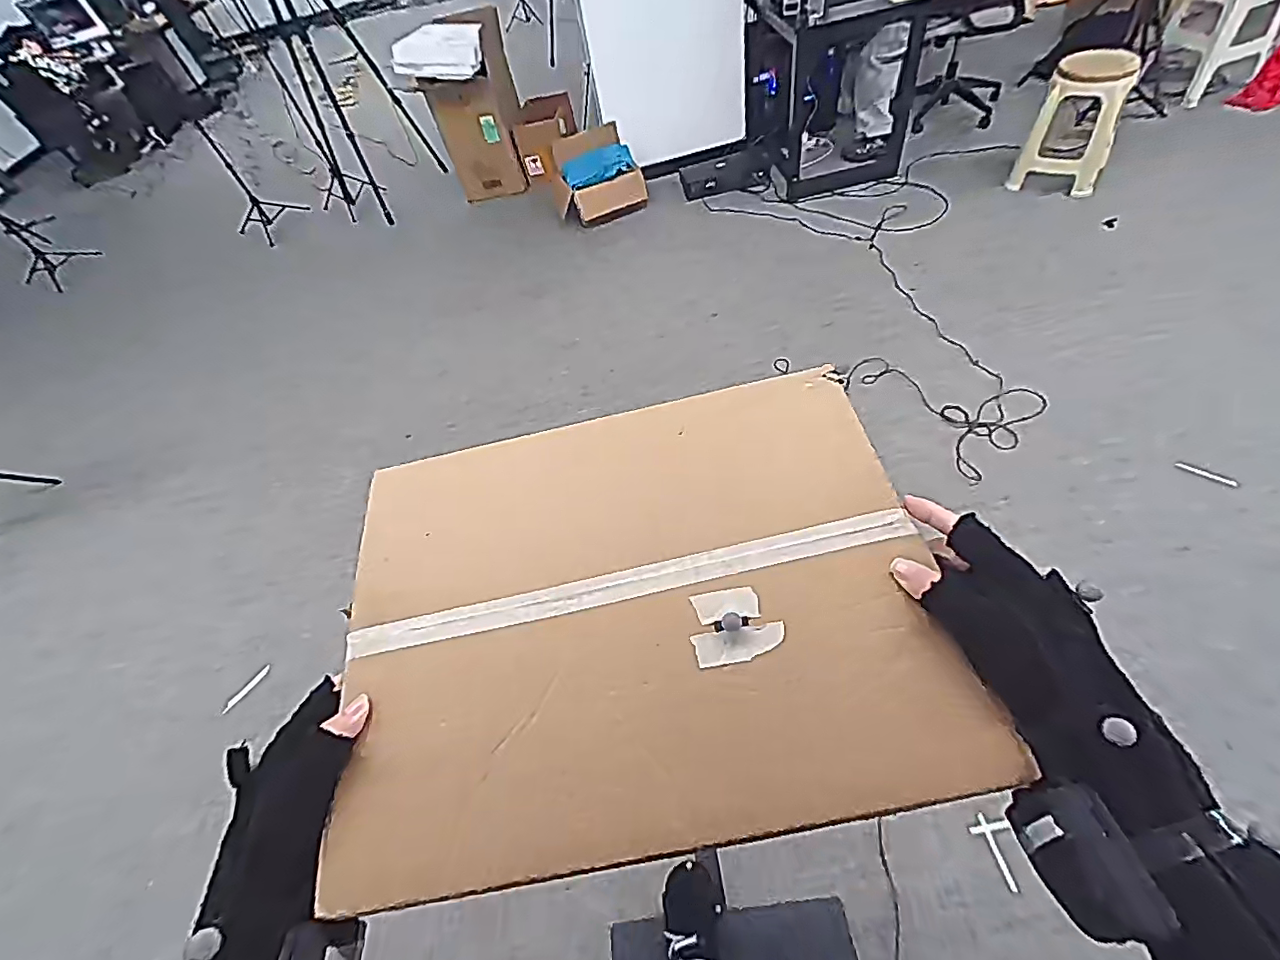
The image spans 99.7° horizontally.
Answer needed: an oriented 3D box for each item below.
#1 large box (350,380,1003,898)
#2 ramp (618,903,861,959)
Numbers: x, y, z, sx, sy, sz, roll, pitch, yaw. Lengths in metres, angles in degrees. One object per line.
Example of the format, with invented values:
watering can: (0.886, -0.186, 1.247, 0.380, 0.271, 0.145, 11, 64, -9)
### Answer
large box: (0.015, 0.160, 0.521, 0.408, 0.320, 0.320, -13, 56, 2)
ramp: (0.217, 1.248, 0.768, 0.509, 0.206, 0.991, -13, 50, 4)
